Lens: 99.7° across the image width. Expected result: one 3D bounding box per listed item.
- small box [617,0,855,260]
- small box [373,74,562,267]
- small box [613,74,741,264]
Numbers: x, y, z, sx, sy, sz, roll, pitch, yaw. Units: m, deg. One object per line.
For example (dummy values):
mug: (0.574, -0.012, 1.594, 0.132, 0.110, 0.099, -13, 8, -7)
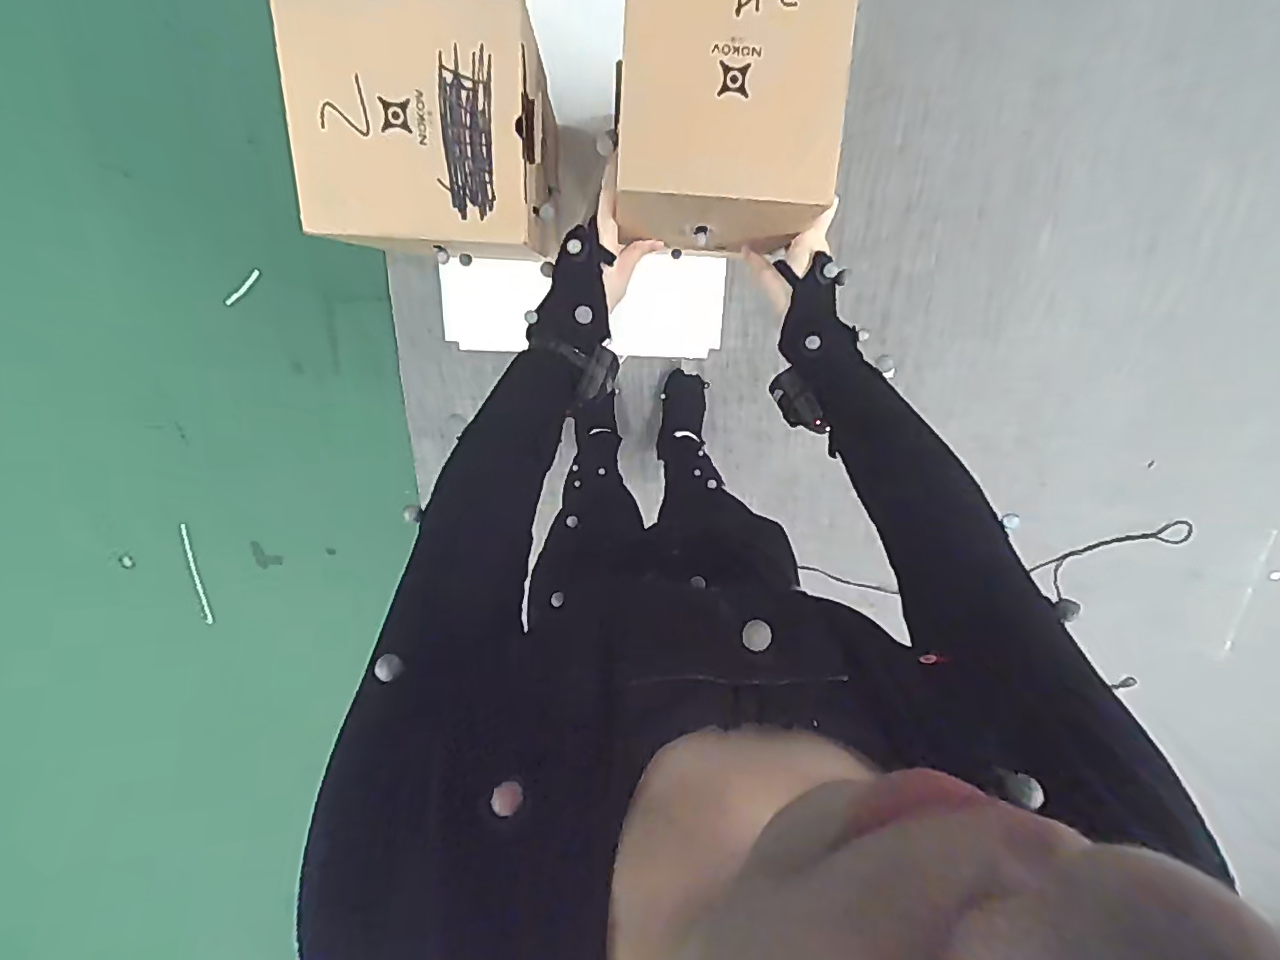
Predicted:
small box: (0.067, -0.306, 0.479, 0.168, 0.176, 0.179, 3, 99, -3)
small box: (-0.187, -0.347, 0.640, 0.179, 0.176, 0.168, 1, 109, -5)
small box: (0.059, -0.355, 0.649, 0.179, 0.176, 0.168, 2, 109, -3)
